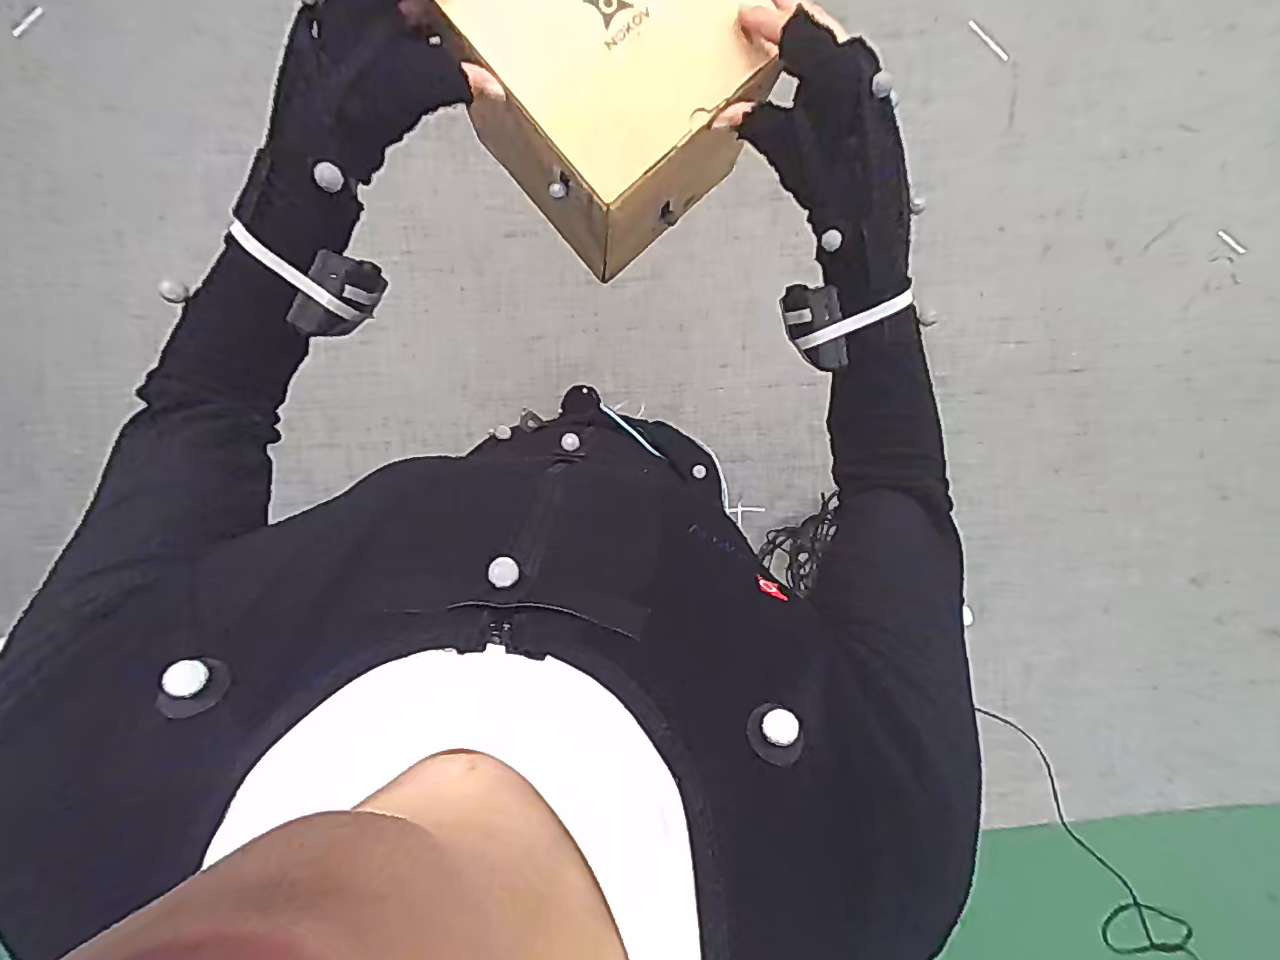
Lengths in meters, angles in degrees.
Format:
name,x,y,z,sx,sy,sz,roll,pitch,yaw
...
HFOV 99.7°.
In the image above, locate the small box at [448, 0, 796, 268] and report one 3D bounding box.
name,x,y,z,sx,sy,sz,roll,pitch,yaw
small box,-0.020,-0.304,0.424,0.168,0.176,0.179,-42,97,-1
